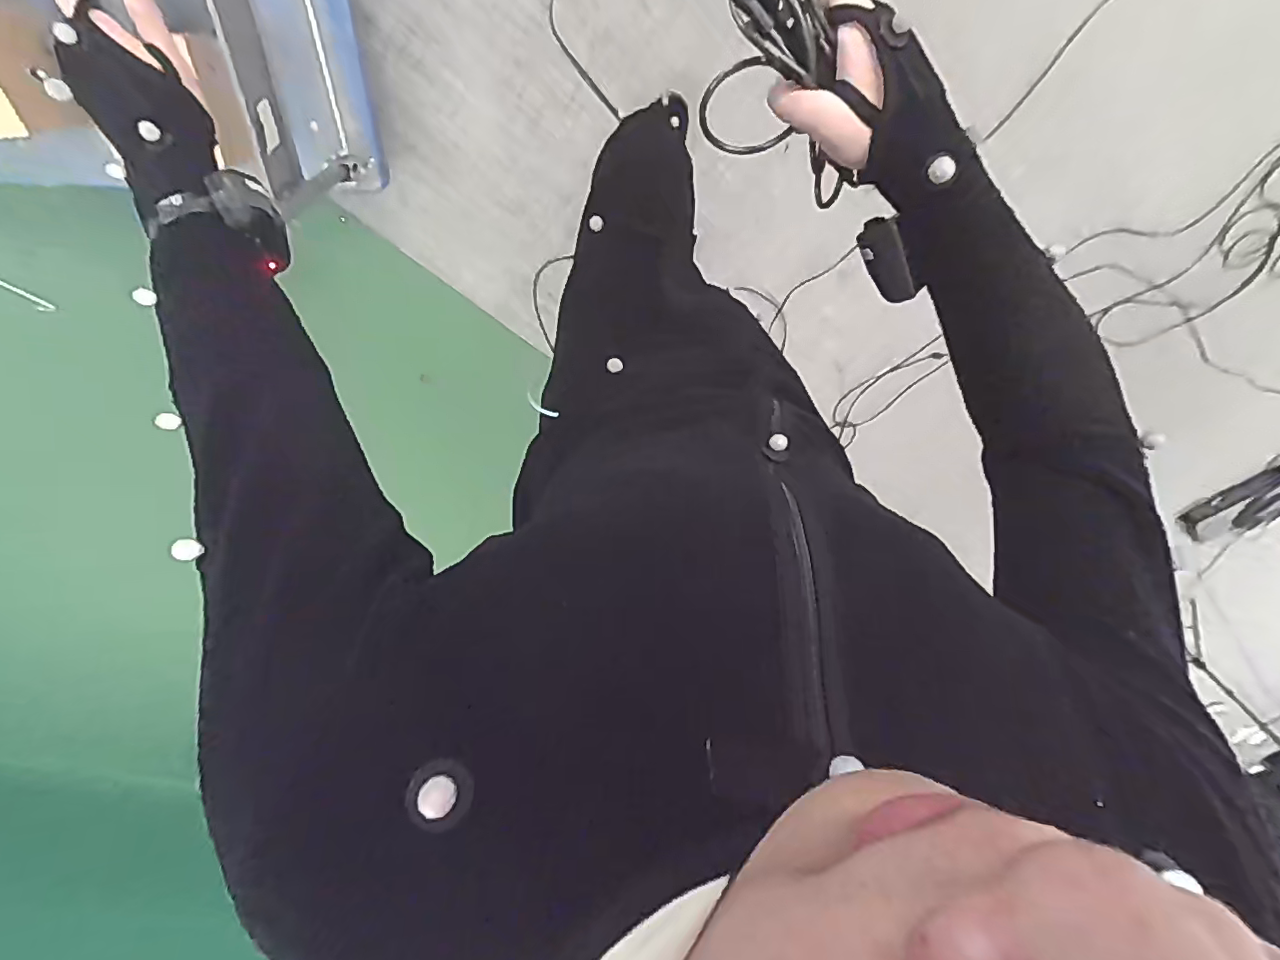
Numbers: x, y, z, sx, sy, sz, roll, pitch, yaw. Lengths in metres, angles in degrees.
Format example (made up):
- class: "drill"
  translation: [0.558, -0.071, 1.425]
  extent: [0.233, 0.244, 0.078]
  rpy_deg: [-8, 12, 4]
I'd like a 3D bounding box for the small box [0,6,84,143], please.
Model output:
- class: "small box"
  translation: [-1.043, -0.633, 0.844]
  extent: [0.179, 0.176, 0.168]
  rpy_deg: [-6, 129, -5]
